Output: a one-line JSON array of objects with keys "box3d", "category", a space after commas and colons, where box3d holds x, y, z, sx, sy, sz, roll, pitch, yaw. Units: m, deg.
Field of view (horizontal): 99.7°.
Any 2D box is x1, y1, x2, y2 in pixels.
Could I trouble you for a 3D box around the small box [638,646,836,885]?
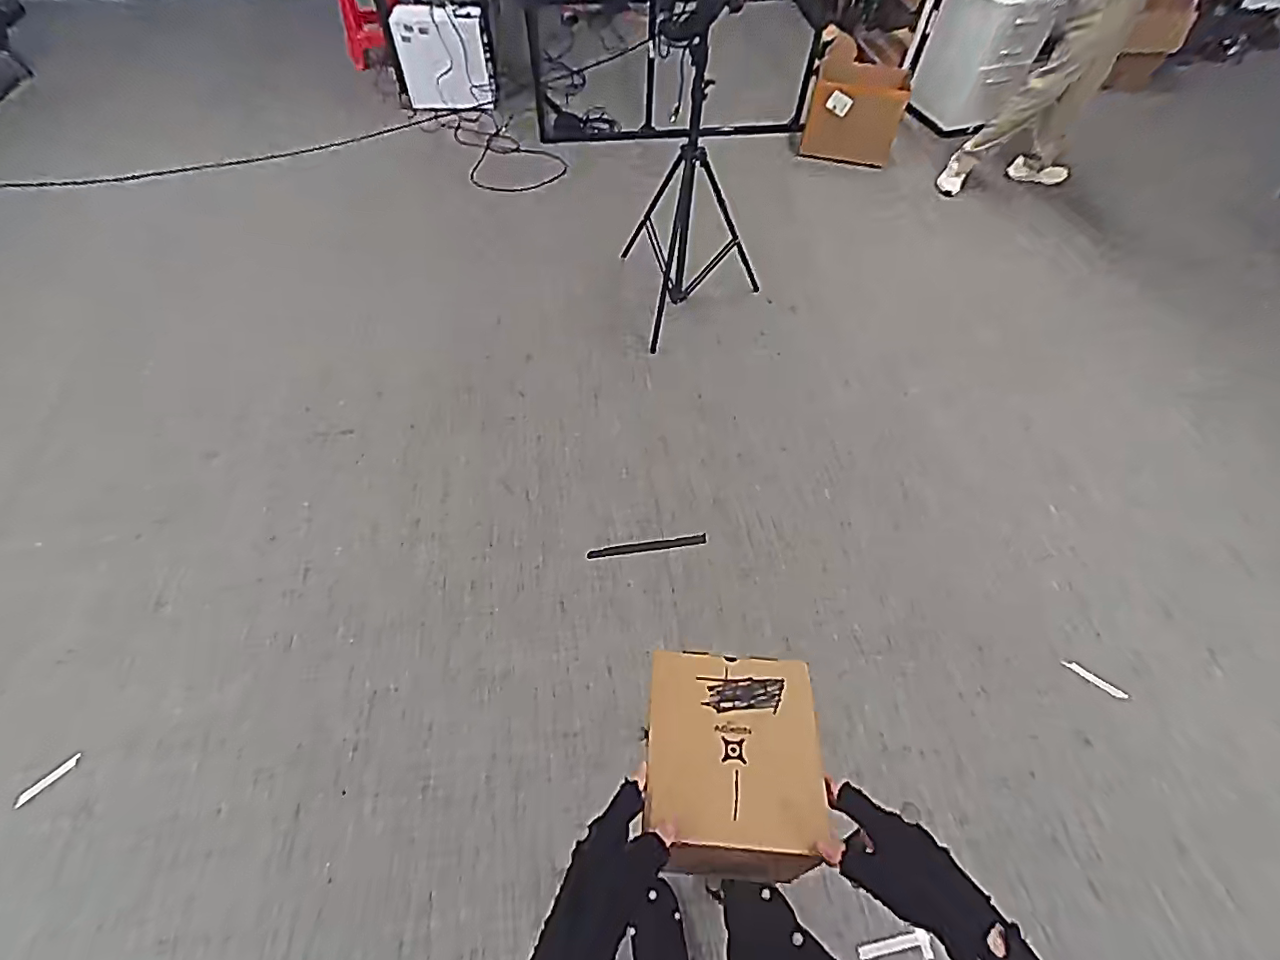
[{"box3d": [0.087, 0.300, 0.570, 0.168, 0.176, 0.179, 4, 46, 1], "category": "small box"}]
